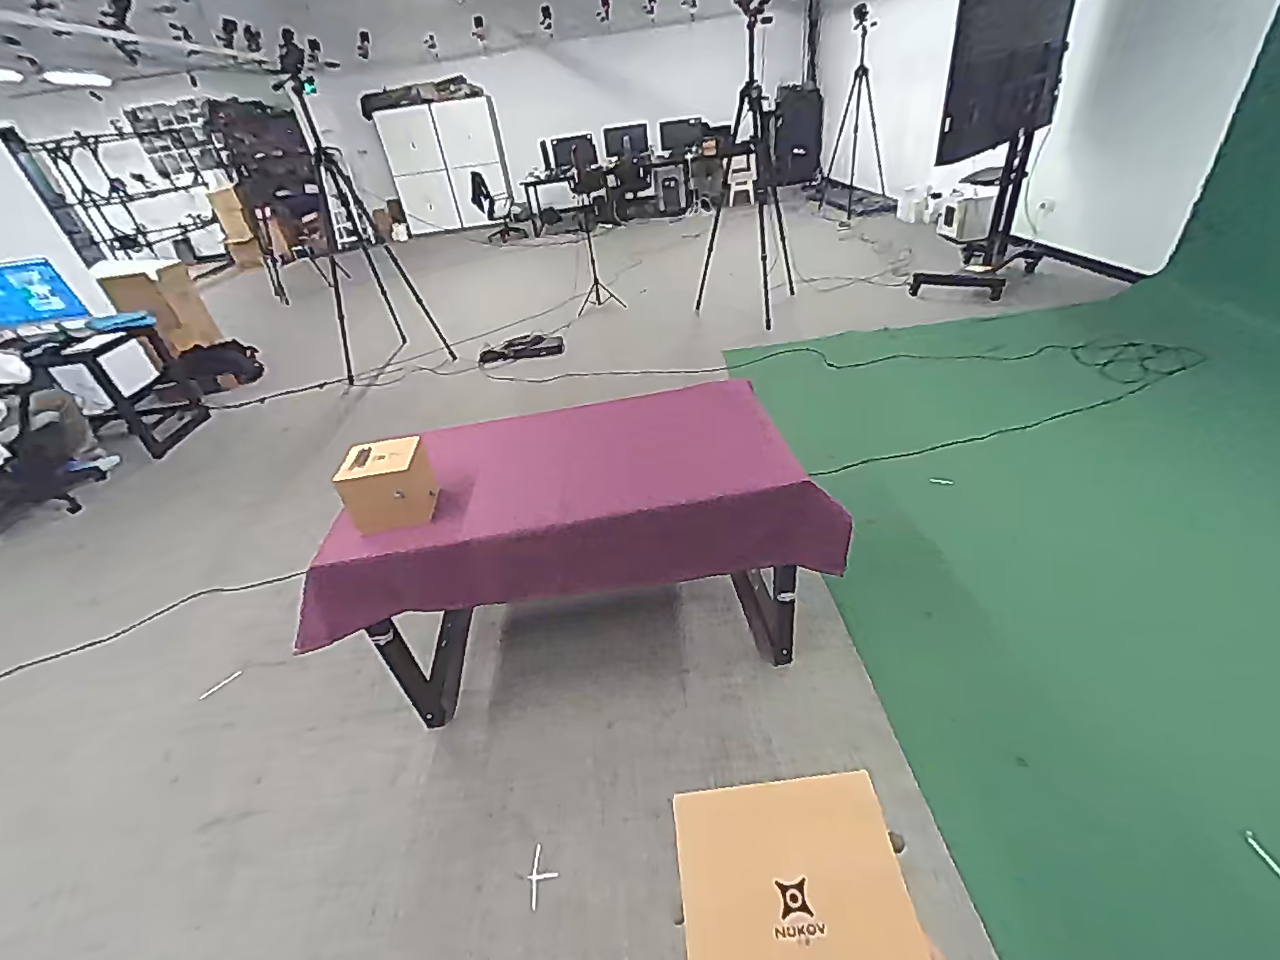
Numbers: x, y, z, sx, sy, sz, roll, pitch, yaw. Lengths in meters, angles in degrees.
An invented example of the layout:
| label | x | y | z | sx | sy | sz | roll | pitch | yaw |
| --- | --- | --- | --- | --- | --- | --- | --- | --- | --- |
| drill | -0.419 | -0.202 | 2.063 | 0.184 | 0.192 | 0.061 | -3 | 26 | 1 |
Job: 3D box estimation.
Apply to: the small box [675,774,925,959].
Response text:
| label | x | y | z | sx | sy | sz | roll | pitch | yaw |
| --- | --- | --- | --- | --- | --- | --- | --- | --- | --- |
| small box | 0.127 | 0.372 | 0.450 | 0.168 | 0.176 | 0.179 | -11 | 46 | 5 |
